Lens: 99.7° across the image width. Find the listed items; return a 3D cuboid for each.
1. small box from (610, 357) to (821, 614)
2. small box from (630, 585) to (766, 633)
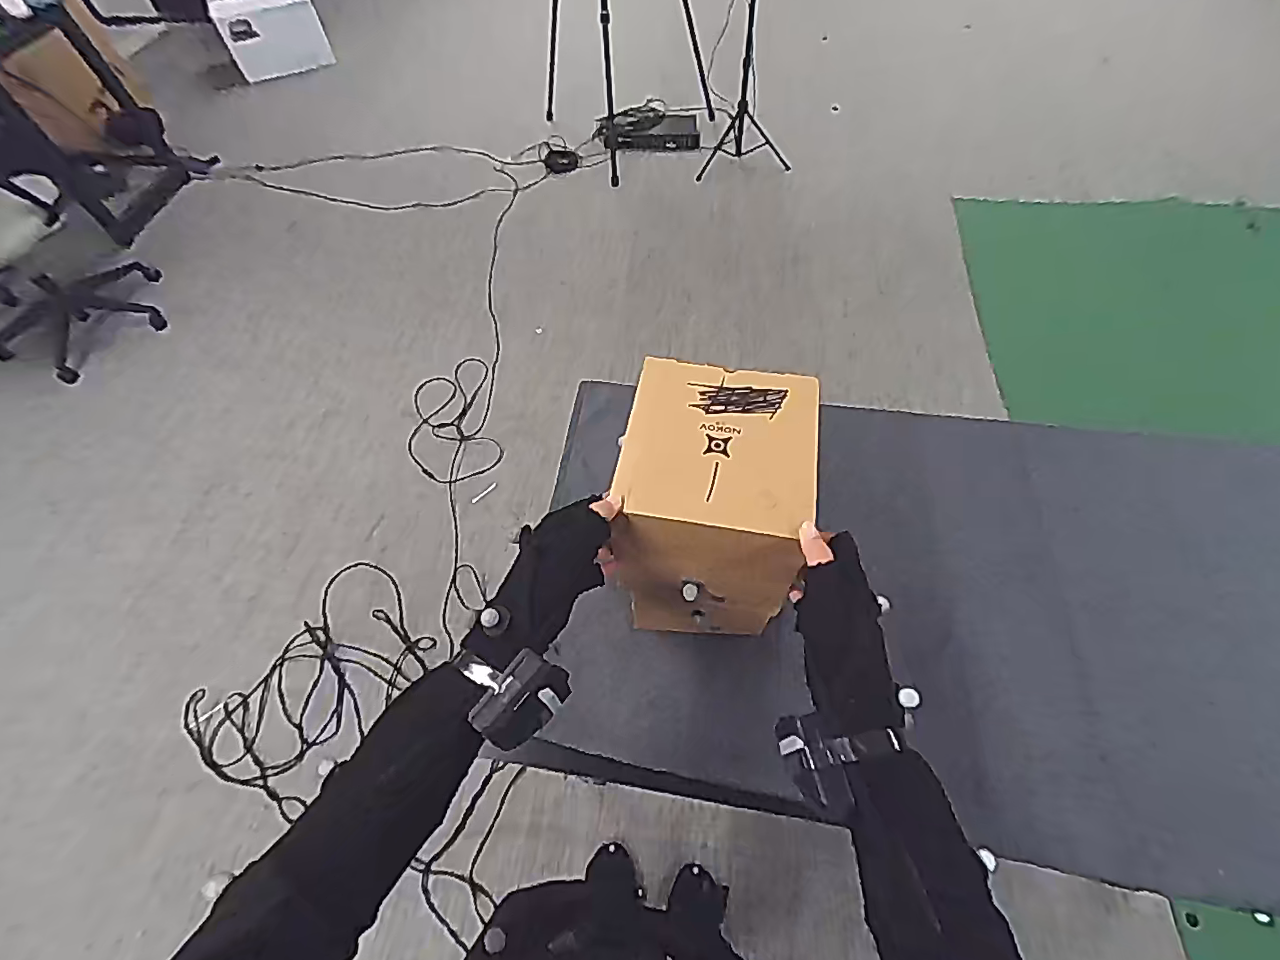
[{"bbox_3d":[0.073,0.009,0.531,0.168,0.176,0.179,8,57,8],"label":"small box"},{"bbox_3d":[0.079,0.086,0.687,0.168,0.176,0.179,2,57,3],"label":"small box"}]
